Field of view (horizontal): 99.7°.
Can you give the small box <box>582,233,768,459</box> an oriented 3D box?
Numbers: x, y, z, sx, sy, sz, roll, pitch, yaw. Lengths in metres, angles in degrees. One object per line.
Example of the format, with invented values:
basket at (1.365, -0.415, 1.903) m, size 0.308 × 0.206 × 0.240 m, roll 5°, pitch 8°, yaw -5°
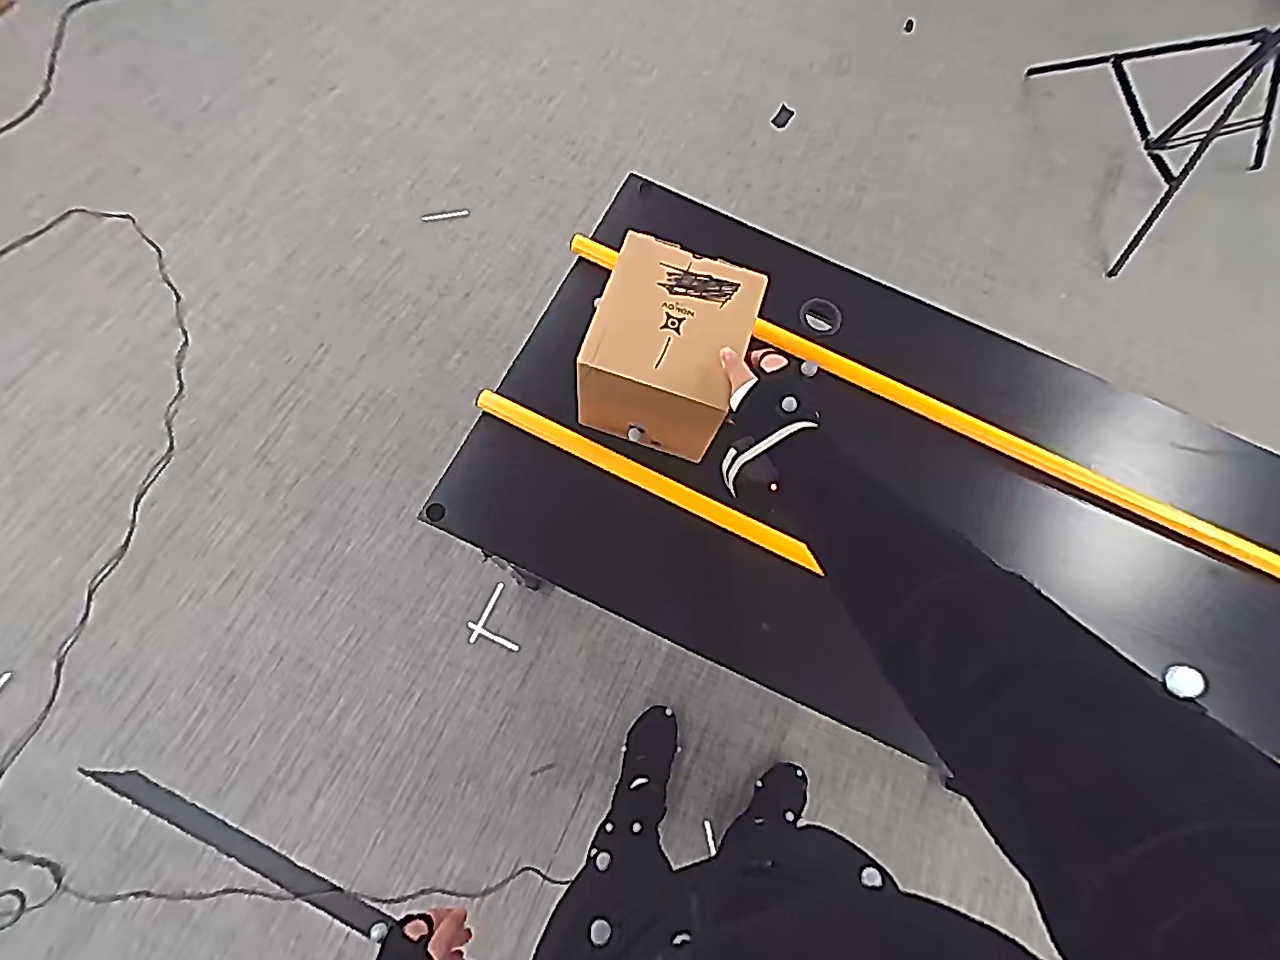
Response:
small box at (0.034, -0.150, 0.653) m, size 0.168 × 0.176 × 0.179 m, roll 19°, pitch 73°, yaw 1°
